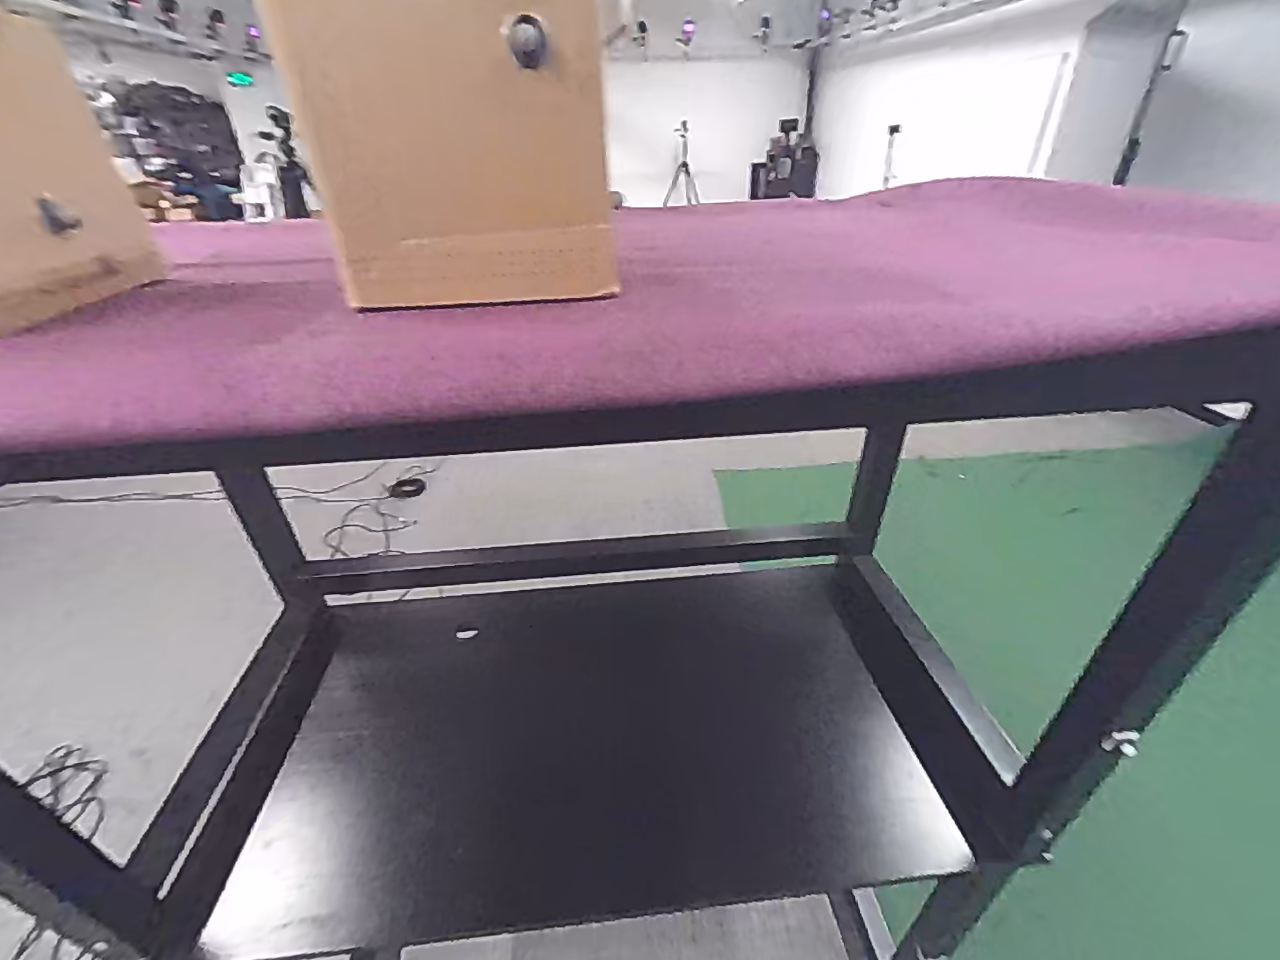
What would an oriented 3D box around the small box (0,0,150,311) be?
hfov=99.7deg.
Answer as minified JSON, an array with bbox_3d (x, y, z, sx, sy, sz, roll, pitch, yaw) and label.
[{"bbox_3d":[-0.473,-0.194,0.325,0.179,0.176,0.168,-4,34,-4],"label":"small box"}]

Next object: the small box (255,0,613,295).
[{"bbox_3d":[-0.114,-0.229,0.369,0.179,0.176,0.168,-4,31,-4],"label":"small box"}]
